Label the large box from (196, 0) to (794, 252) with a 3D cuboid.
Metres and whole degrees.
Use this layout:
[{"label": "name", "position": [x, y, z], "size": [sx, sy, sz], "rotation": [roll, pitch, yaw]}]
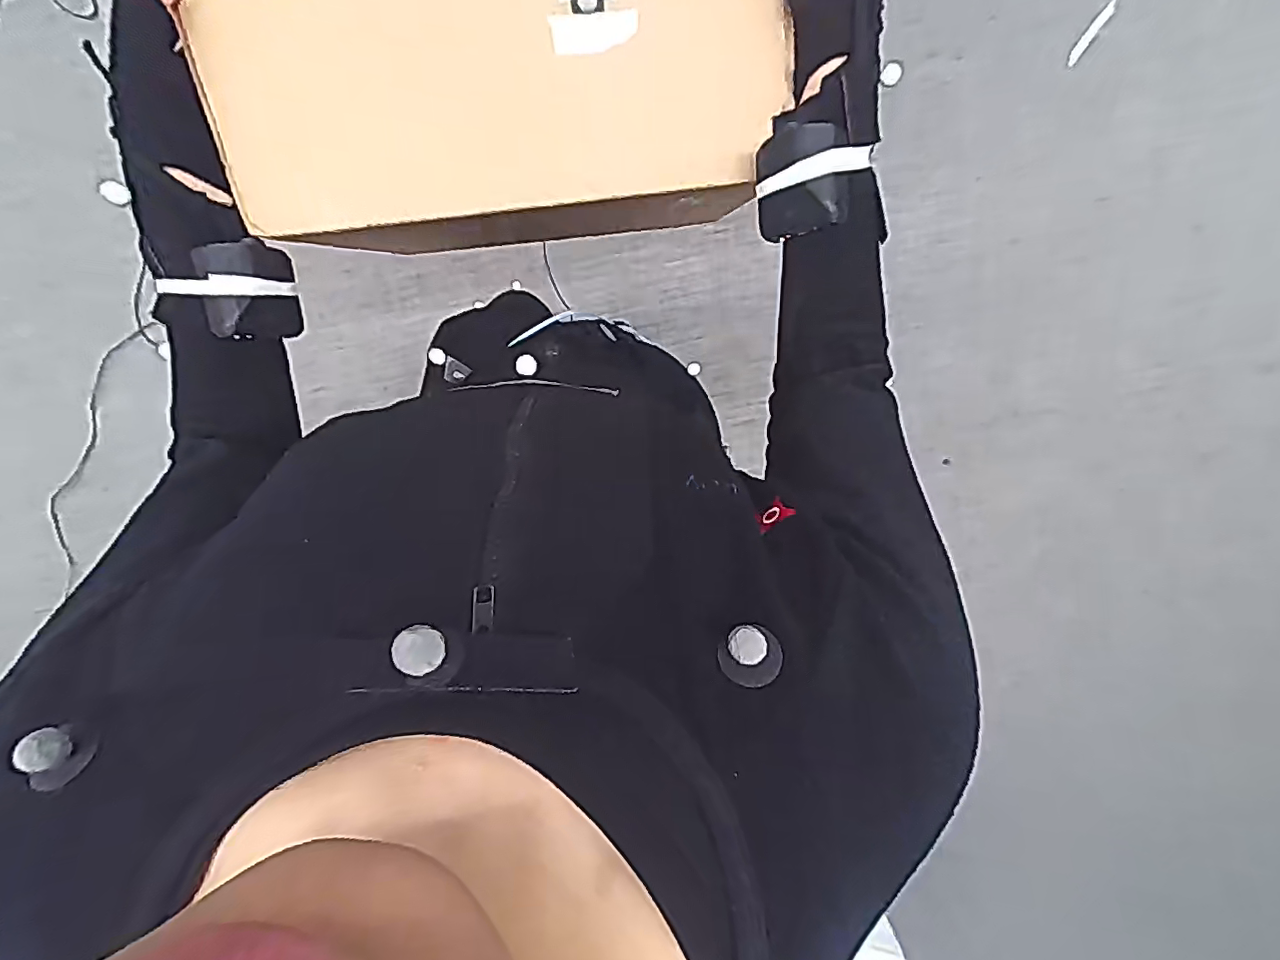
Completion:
[{"label": "large box", "position": [-0.108, -0.406, 0.494], "size": [0.408, 0.320, 0.320], "rotation": [-7, 111, -1]}]
